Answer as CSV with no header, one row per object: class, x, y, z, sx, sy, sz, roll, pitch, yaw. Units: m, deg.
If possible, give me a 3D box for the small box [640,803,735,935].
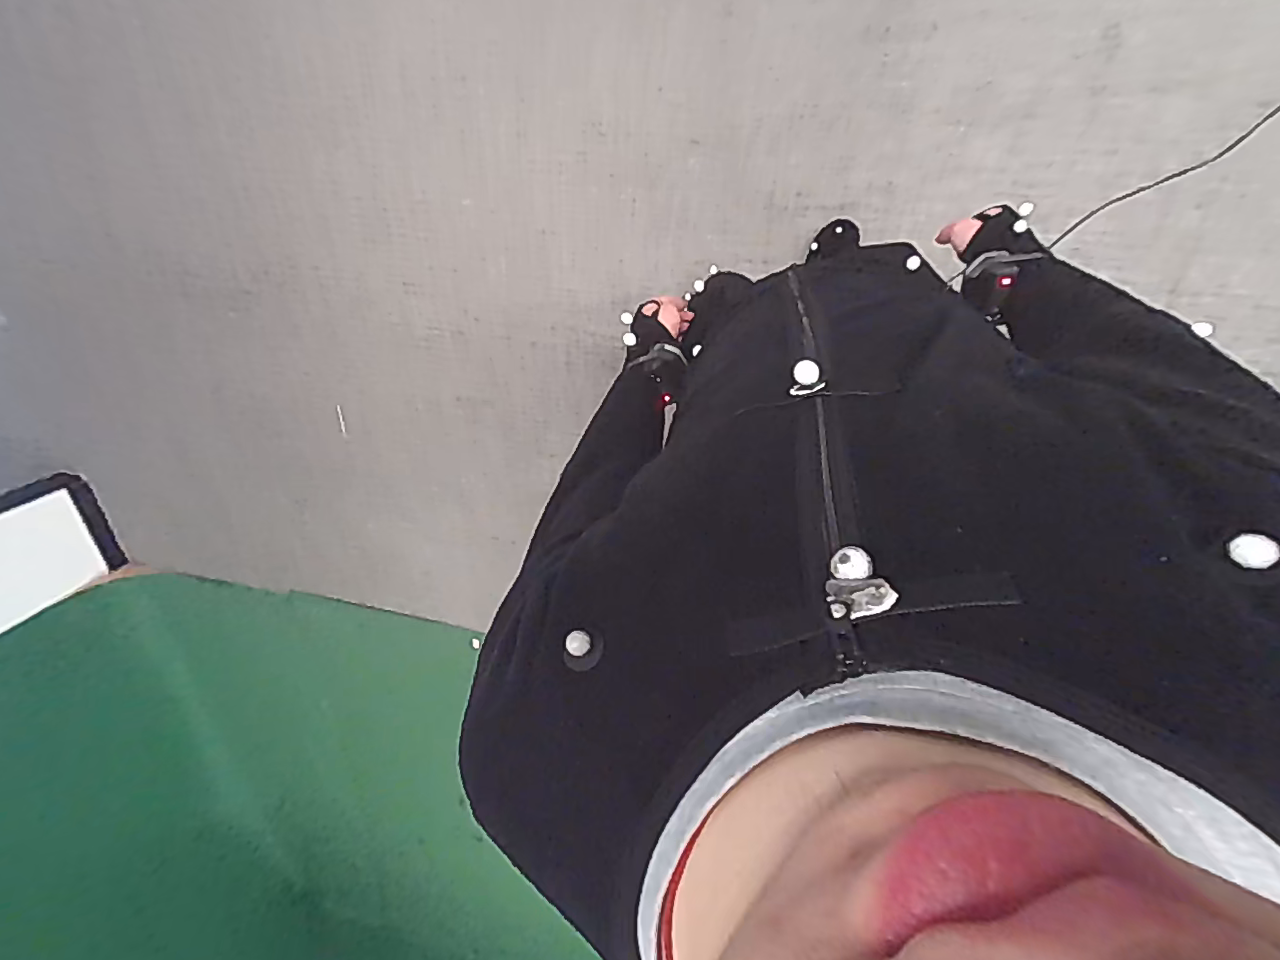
small box,0.112,0.872,1.222,0.179,0.176,0.168,13,119,8
